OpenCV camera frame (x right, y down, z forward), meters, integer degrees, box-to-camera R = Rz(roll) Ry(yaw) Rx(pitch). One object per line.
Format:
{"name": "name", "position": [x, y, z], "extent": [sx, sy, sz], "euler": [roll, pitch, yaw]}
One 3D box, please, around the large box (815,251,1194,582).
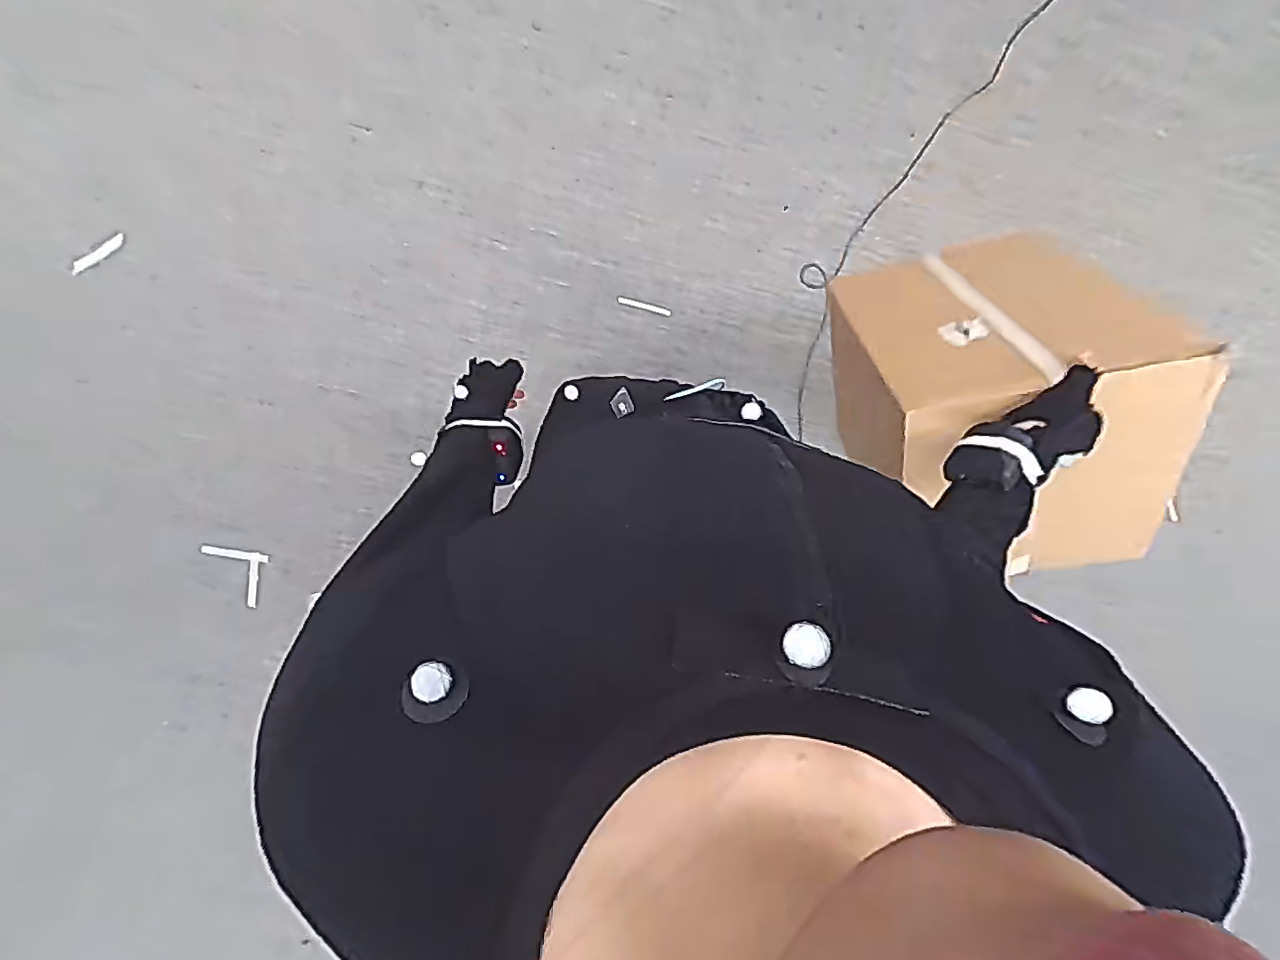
{"name": "large box", "position": [0.477, -0.107, 0.839], "extent": [0.320, 0.408, 0.320], "euler": [-11, 129, 11]}
